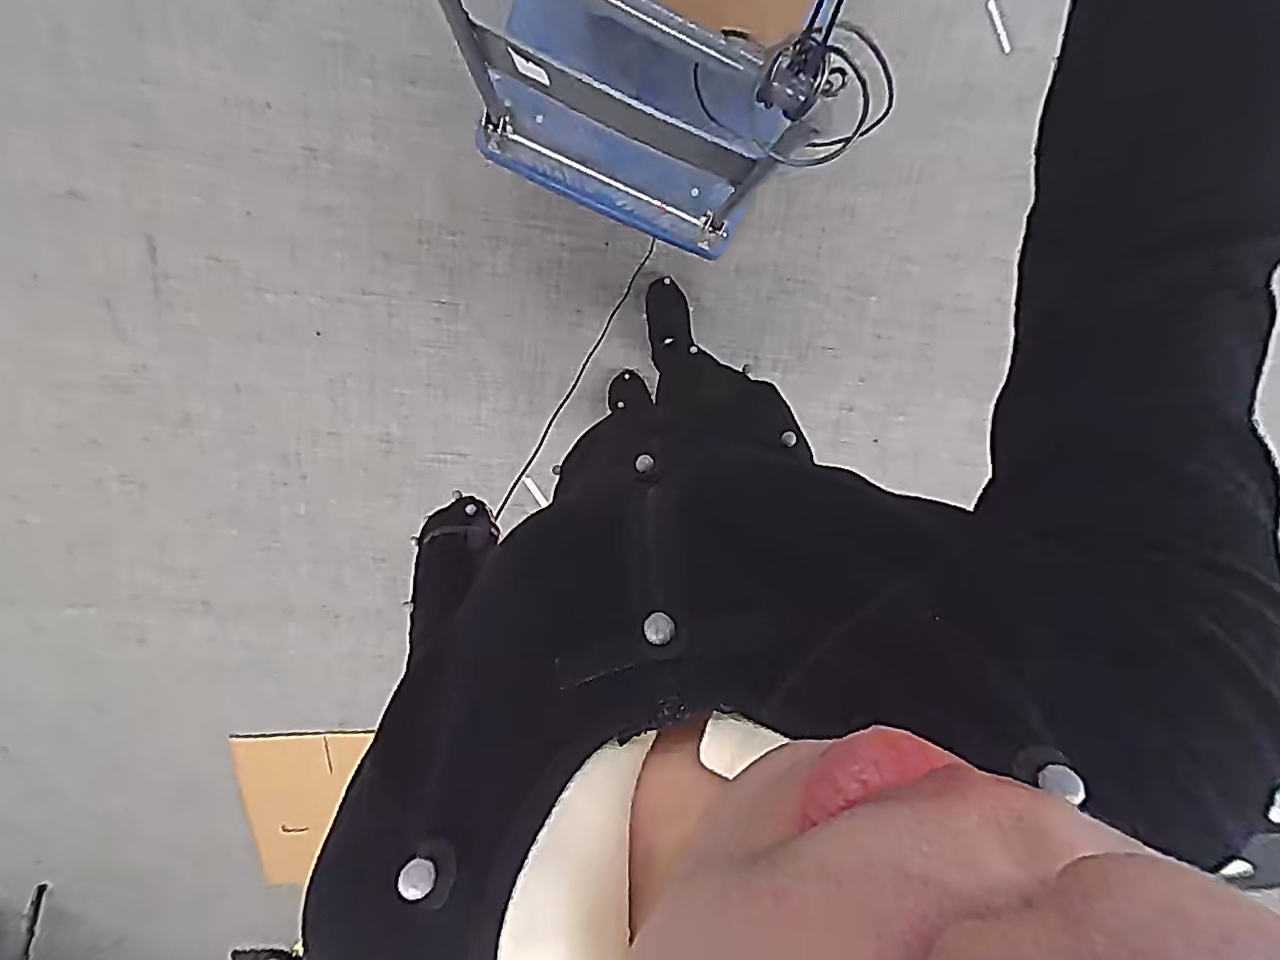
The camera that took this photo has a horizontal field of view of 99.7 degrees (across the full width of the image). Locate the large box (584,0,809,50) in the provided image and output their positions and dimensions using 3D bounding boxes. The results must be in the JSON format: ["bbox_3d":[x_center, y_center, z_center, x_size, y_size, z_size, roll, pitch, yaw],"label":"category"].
[{"bbox_3d":[0.112,-0.992,0.896,0.408,0.320,0.320,7,107,-6],"label":"large box"}]
